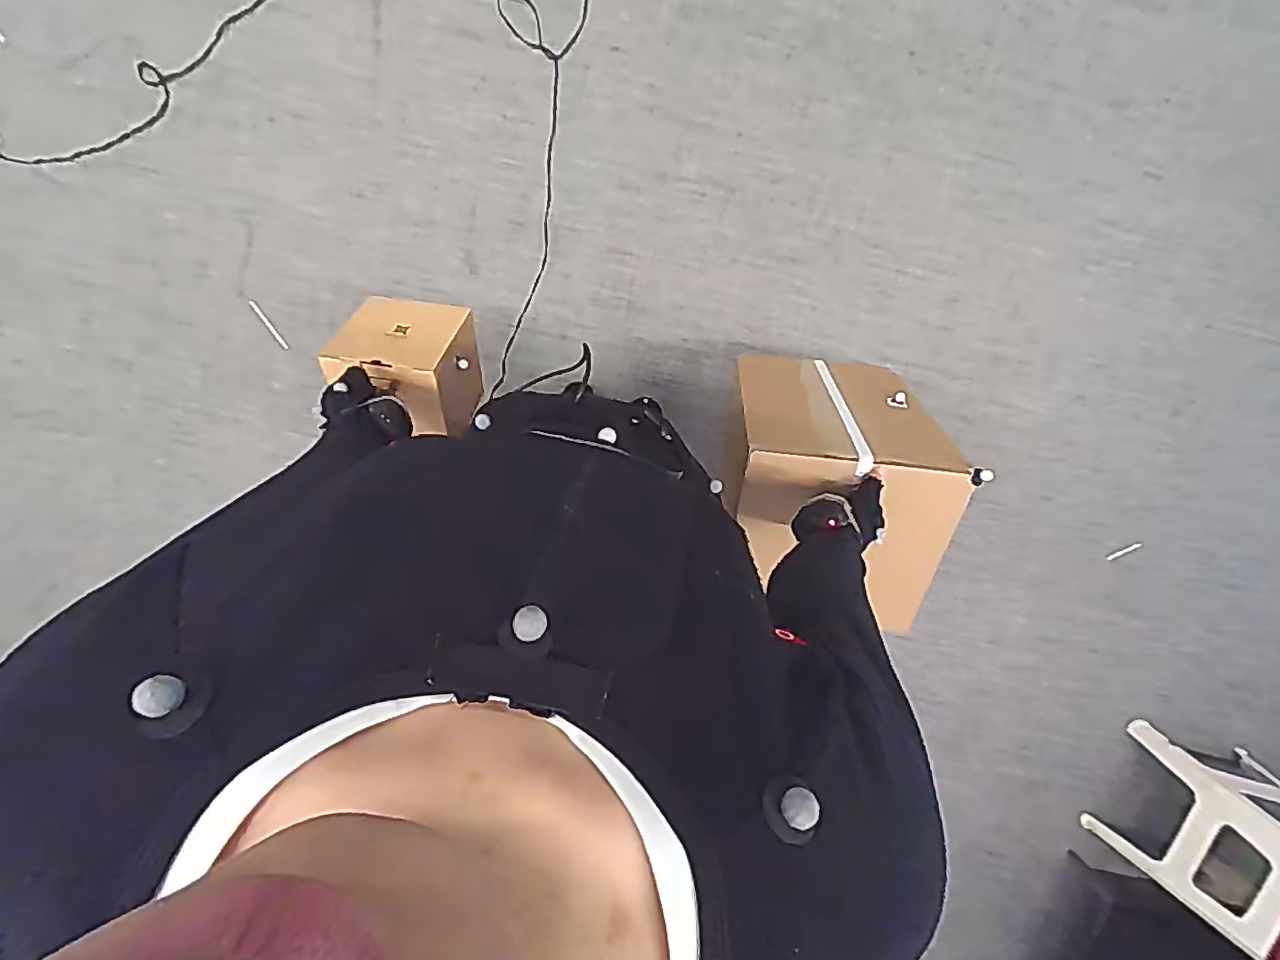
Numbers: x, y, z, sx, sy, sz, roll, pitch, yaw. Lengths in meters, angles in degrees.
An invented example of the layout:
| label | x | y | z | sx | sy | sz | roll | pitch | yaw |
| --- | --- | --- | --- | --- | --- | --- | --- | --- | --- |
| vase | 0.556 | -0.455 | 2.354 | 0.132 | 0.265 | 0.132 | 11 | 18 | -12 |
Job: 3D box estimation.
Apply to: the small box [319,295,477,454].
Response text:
| label | x | y | z | sx | sy | sz | roll | pitch | yaw |
| --- | --- | --- | --- | --- | --- | --- | --- | --- | --- |
| small box | -0.370 | -0.168 | 0.868 | 0.168 | 0.179 | 0.176 | 7 | 138 | 0 |
